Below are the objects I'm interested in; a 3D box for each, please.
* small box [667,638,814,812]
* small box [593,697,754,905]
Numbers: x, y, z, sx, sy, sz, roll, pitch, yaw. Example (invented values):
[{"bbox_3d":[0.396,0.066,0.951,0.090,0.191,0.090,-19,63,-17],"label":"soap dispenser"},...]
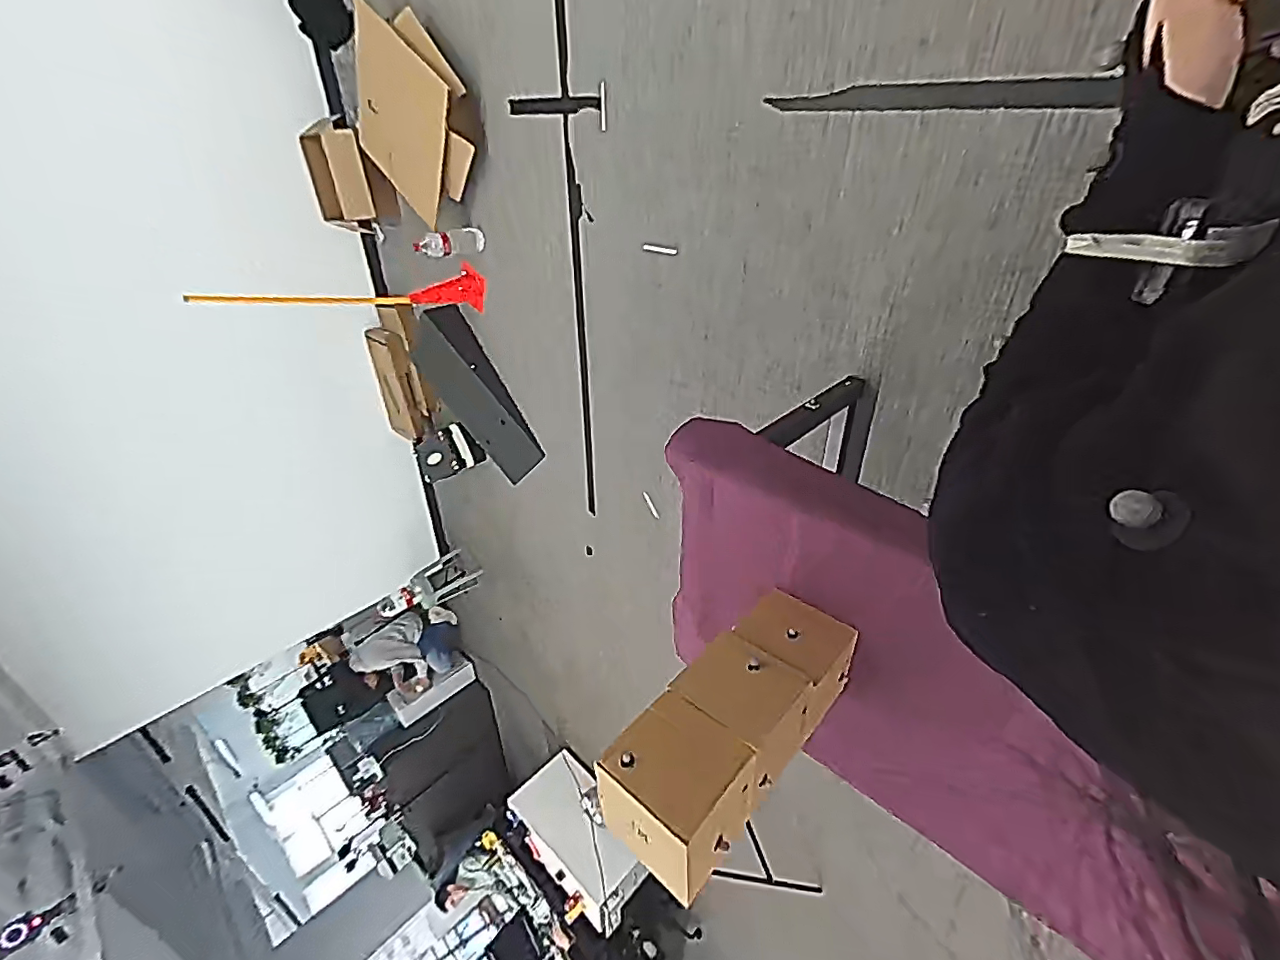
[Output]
[{"bbox_3d":[0.165,0.395,0.910,0.179,0.176,0.168,22,129,39],"label":"small box"},{"bbox_3d":[0.055,0.466,0.813,0.179,0.176,0.168,23,128,38],"label":"small box"}]
